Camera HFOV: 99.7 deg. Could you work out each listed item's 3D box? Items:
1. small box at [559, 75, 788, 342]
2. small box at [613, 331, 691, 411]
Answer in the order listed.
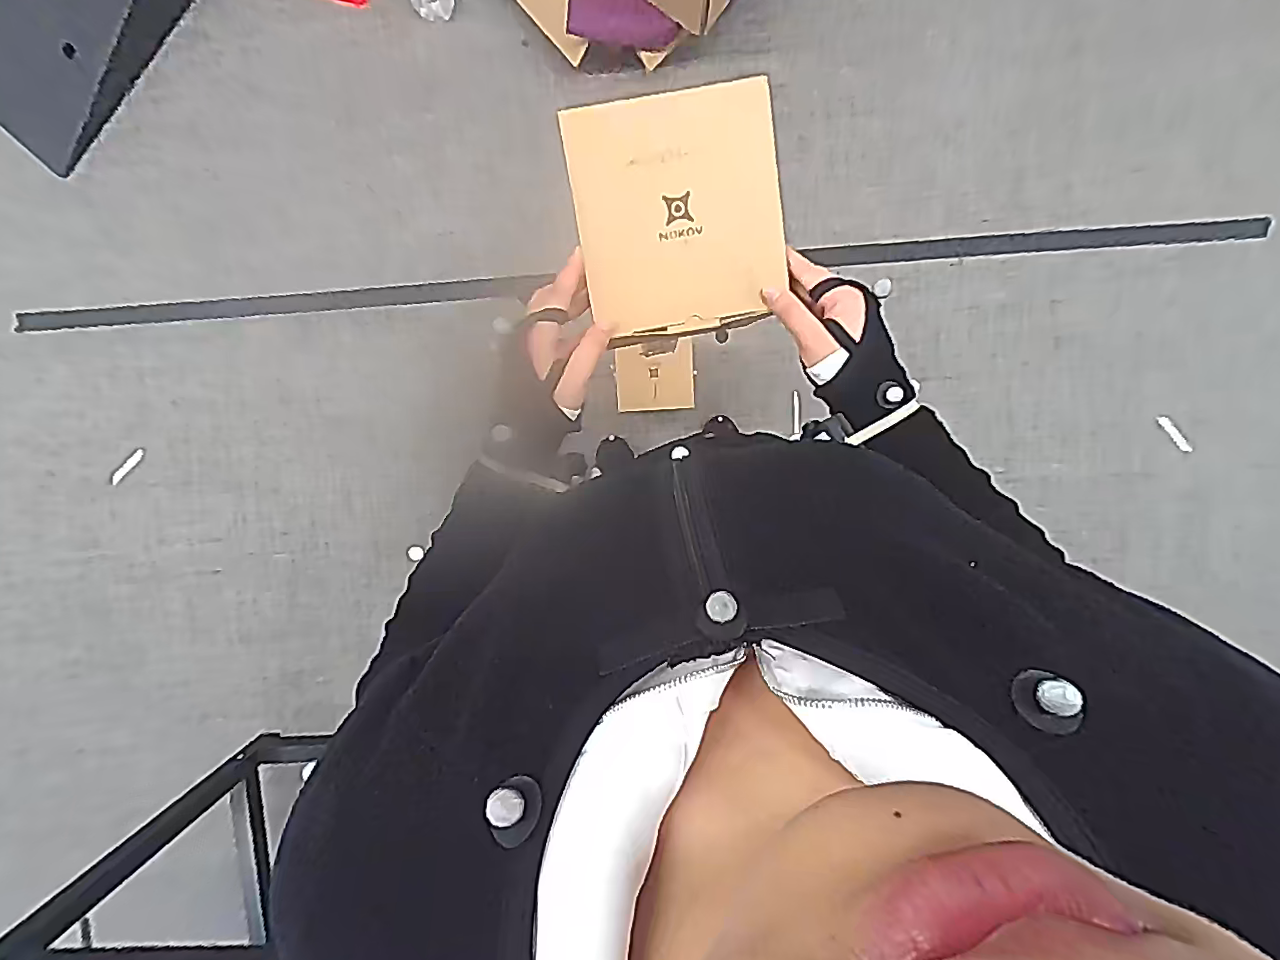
[{"bbox_3d":[0.028,-0.230,0.510,0.168,0.176,0.179,-10,101,-1],"label":"small box"},{"bbox_3d":[0.026,-0.249,1.225,0.168,0.176,0.179,-3,98,1],"label":"small box"}]
